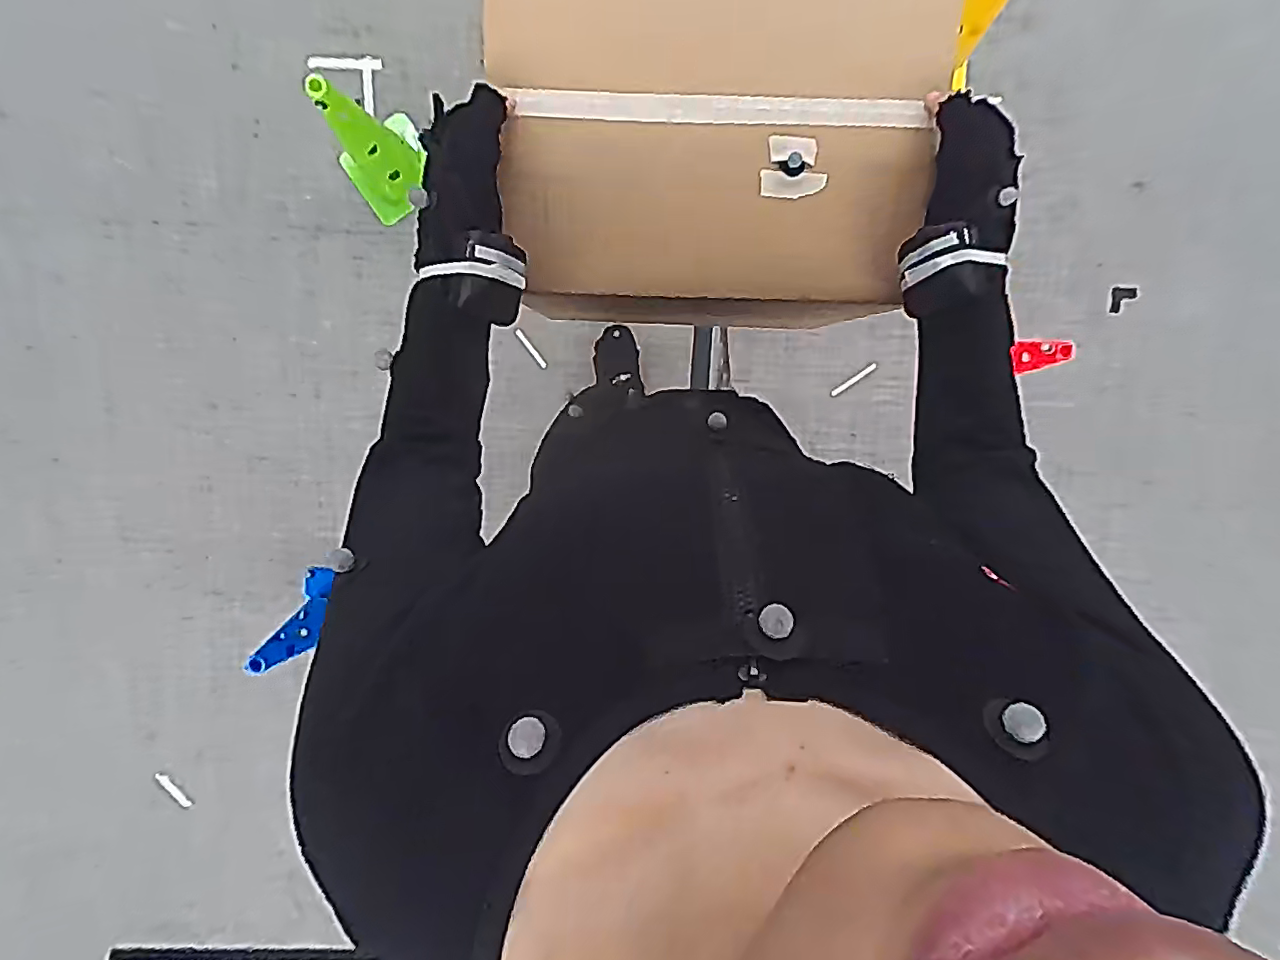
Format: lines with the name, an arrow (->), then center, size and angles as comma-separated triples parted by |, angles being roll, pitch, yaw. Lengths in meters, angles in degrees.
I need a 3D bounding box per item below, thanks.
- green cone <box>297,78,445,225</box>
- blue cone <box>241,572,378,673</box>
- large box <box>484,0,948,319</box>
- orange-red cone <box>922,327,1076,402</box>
green cone -> -0.605, -0.742, 1.160 | 0.202, 0.368, 0.200 | -35, 96, 4
blue cone -> -0.805, 0.363, 1.306 | 0.192, 0.380, 0.193 | 5, 97, -2
large box -> 0.060, -0.361, 0.622 | 0.408, 0.320, 0.320 | 1, 102, -1
orange-red cone -> 0.860, -0.291, 1.275 | 0.198, 0.360, 0.199 | -1, 96, -3
